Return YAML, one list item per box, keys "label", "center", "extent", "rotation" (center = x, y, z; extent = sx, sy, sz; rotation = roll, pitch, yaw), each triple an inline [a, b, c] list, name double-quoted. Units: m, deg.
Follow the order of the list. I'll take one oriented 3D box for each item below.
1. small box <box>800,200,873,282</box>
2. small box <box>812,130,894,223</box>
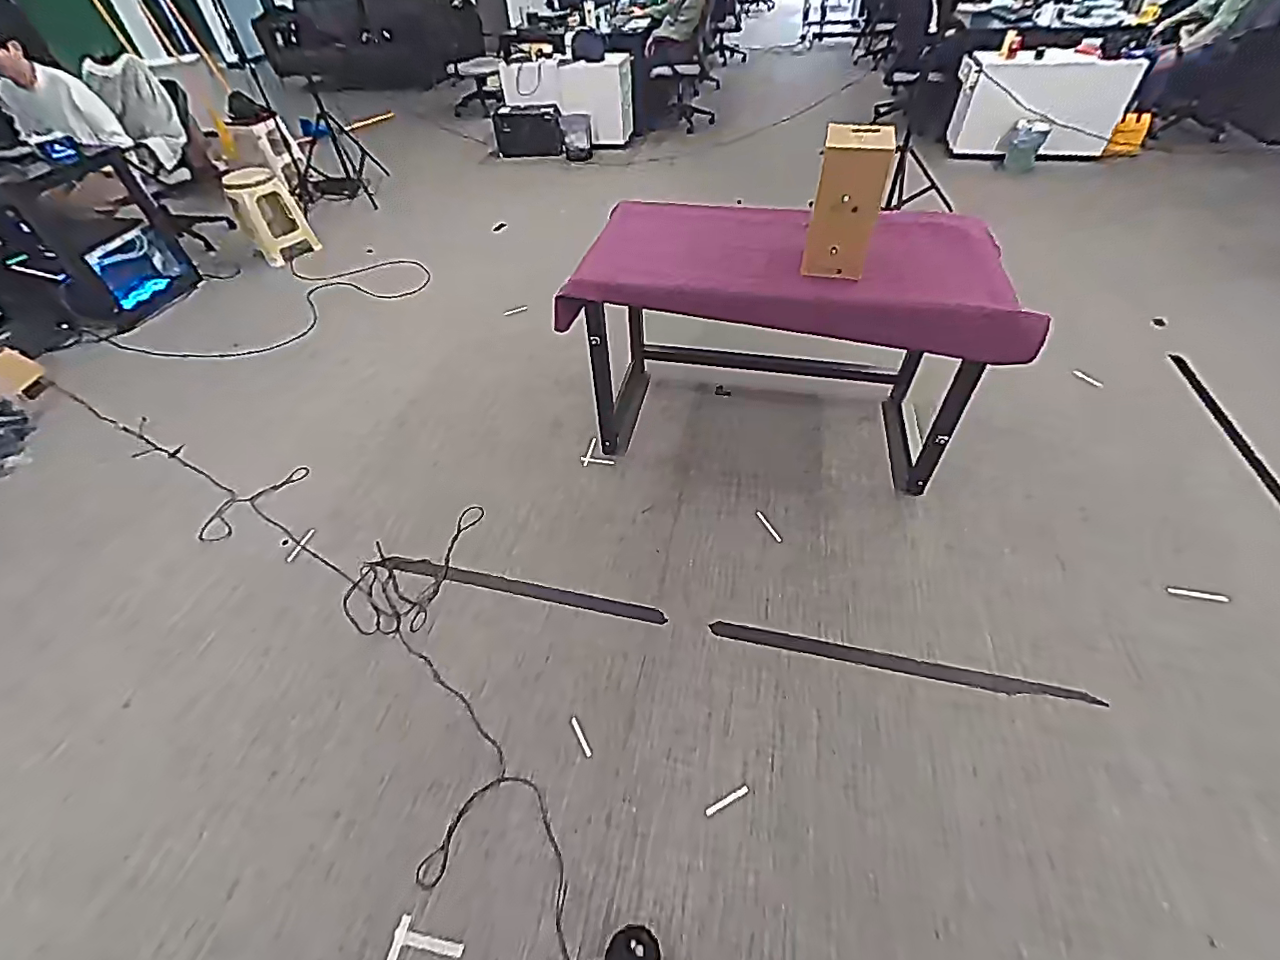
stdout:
- label: "small box"
  center: [0.559, -0.685, 1.543]
  extent: [0.168, 0.176, 0.179]
  rotation: [11, 48, 12]
- label: "small box"
  center: [0.556, -0.800, 1.425]
  extent: [0.168, 0.176, 0.179]
  rotation: [10, 49, 12]
